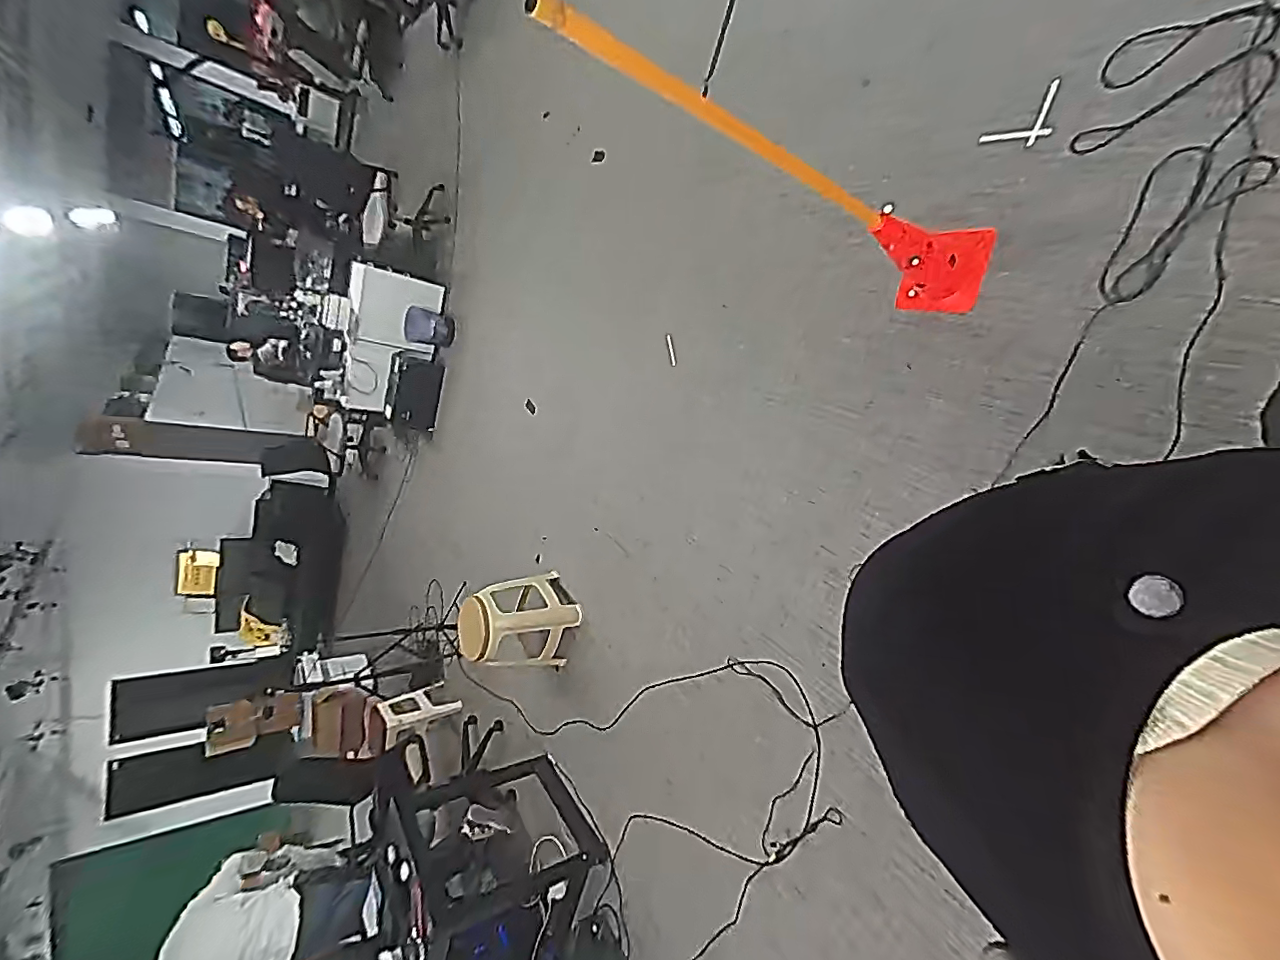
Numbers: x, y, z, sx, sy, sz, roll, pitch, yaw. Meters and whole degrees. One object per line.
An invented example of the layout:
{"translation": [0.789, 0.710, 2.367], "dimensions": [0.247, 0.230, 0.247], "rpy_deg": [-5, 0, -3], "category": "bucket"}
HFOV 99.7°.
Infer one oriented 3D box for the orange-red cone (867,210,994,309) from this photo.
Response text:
{"translation": [0.629, -0.543, 1.248], "dimensions": [0.199, 0.360, 0.198], "rpy_deg": [26, 107, 47], "category": "orange-red cone"}
